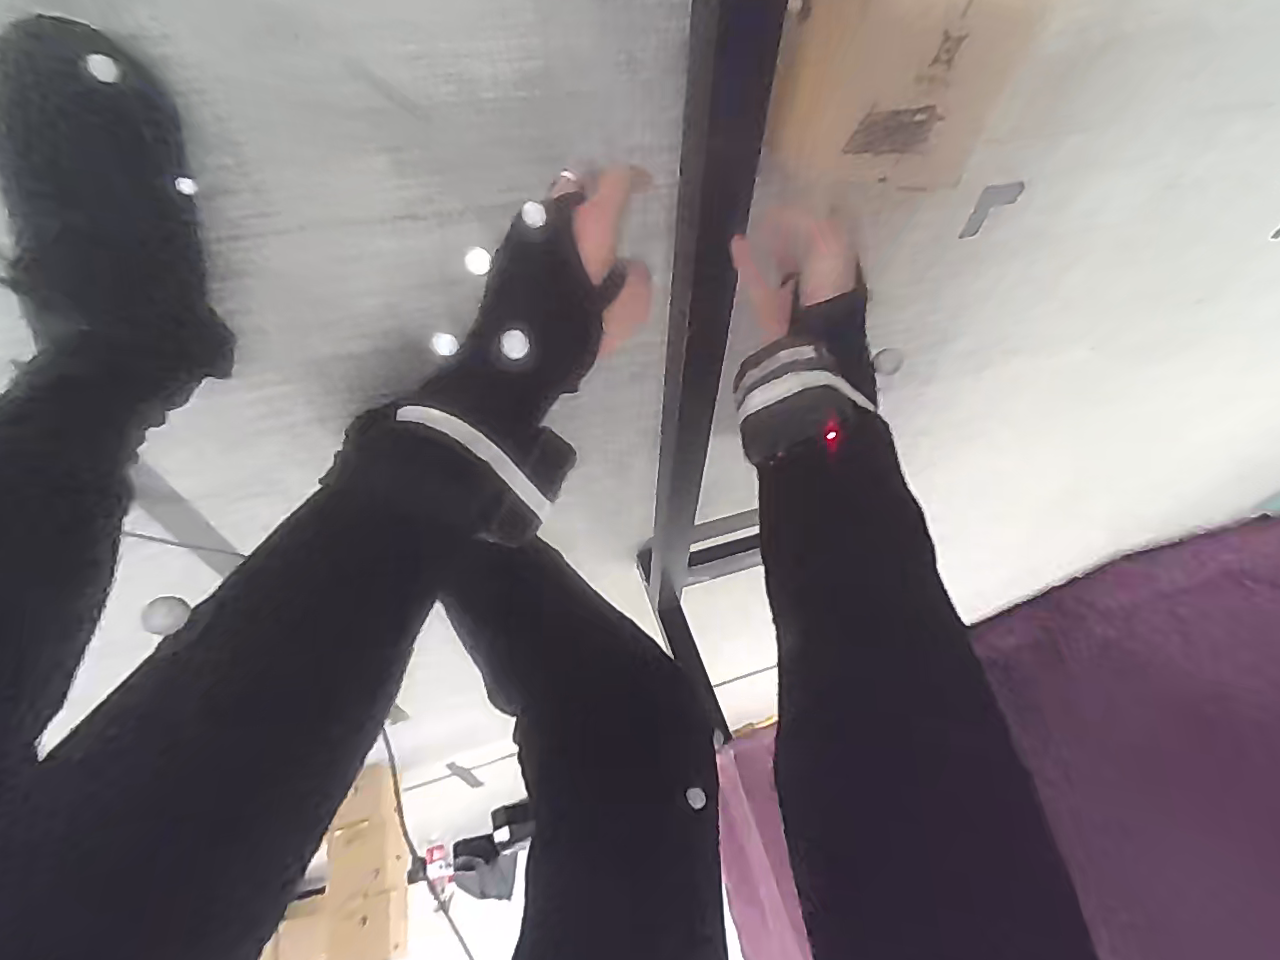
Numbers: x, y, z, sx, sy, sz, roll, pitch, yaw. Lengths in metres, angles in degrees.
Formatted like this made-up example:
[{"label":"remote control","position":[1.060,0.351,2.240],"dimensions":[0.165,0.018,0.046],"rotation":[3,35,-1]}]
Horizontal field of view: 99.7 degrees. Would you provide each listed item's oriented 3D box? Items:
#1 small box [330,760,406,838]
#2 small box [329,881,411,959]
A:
[{"label":"small box","position":[-0.856,1.010,1.716],"dimensions":[0.168,0.176,0.179],"rotation":[-15,144,-9]},{"label":"small box","position":[-0.757,1.263,1.533],"dimensions":[0.168,0.176,0.179],"rotation":[-12,144,-11]}]
